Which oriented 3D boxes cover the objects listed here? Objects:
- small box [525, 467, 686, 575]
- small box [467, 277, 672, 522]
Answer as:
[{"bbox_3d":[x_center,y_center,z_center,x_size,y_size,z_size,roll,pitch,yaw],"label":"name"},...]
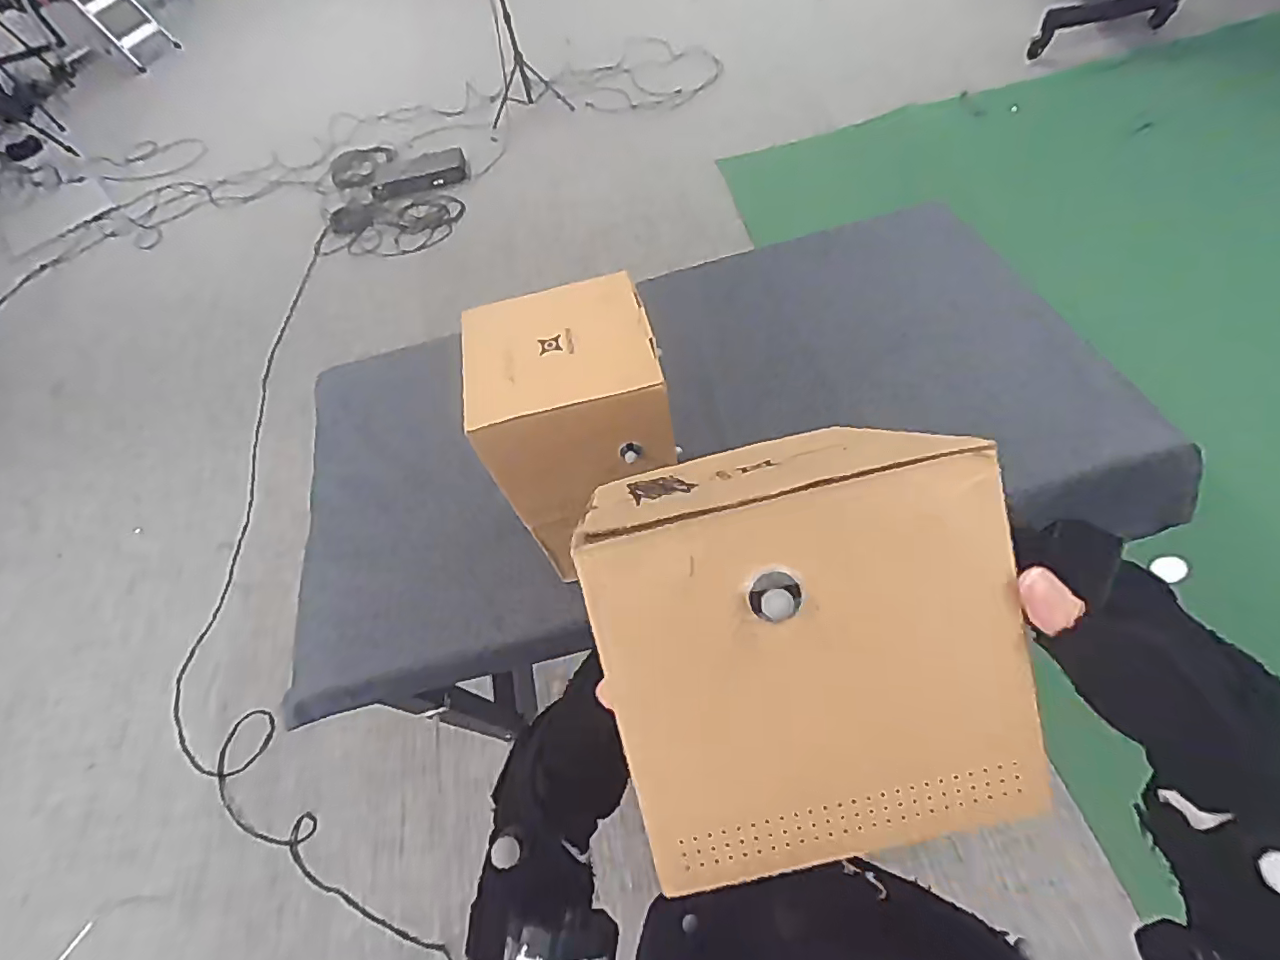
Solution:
[{"bbox_3d":[-0.045,0.007,0.710,0.179,0.176,0.168,-14,56,1],"label":"small box"},{"bbox_3d":[-0.067,-0.078,0.573,0.179,0.176,0.168,-14,54,1],"label":"small box"}]
